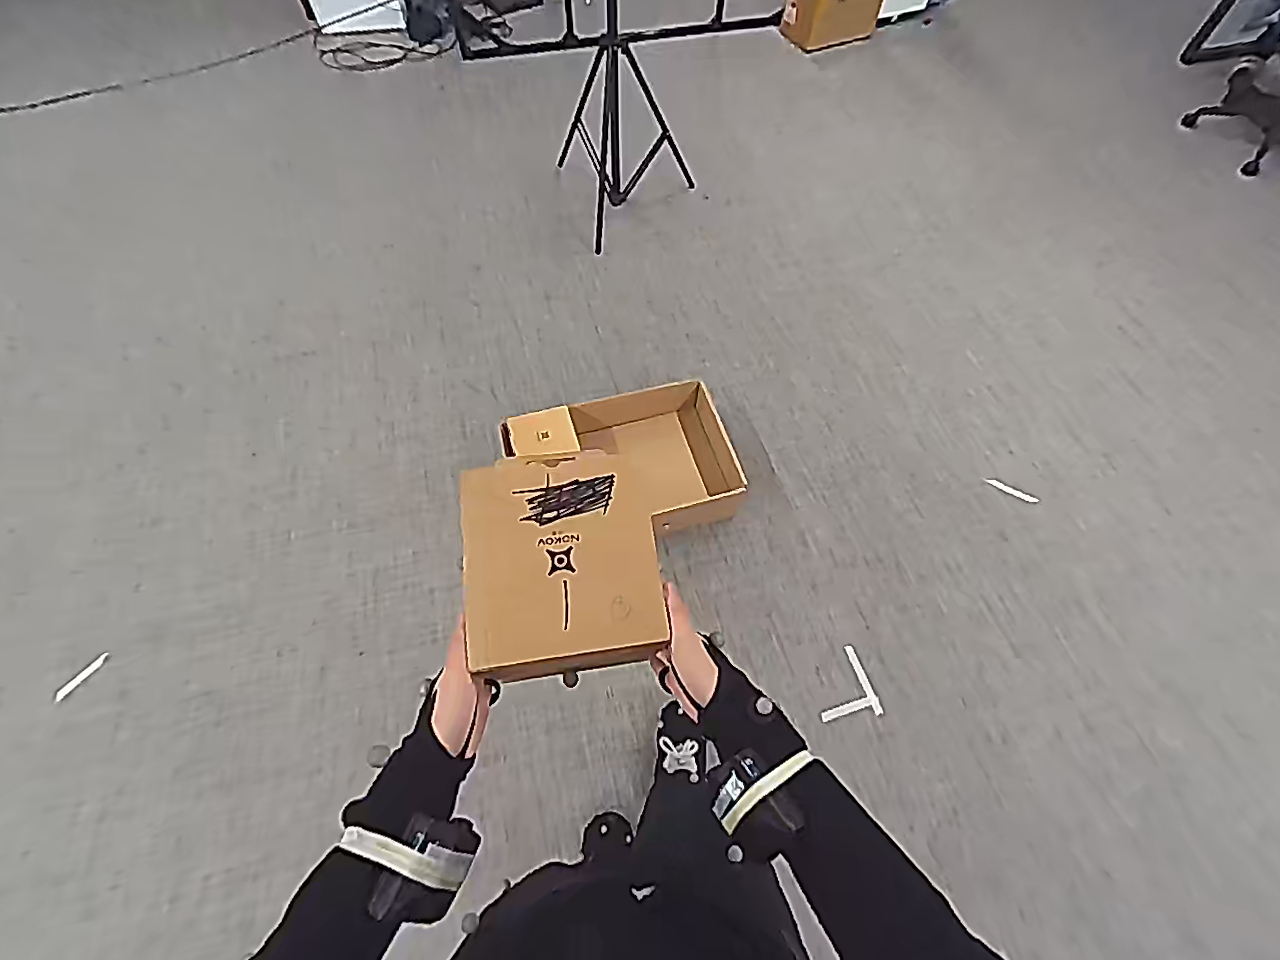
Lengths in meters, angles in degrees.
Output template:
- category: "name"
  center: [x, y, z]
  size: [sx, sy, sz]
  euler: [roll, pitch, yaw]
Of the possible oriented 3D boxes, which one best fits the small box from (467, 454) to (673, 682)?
- category: "small box"
  center: [-0.072, 0.094, 0.538]
  size: [0.168, 0.176, 0.179]
  euler: [-7, 67, -8]
